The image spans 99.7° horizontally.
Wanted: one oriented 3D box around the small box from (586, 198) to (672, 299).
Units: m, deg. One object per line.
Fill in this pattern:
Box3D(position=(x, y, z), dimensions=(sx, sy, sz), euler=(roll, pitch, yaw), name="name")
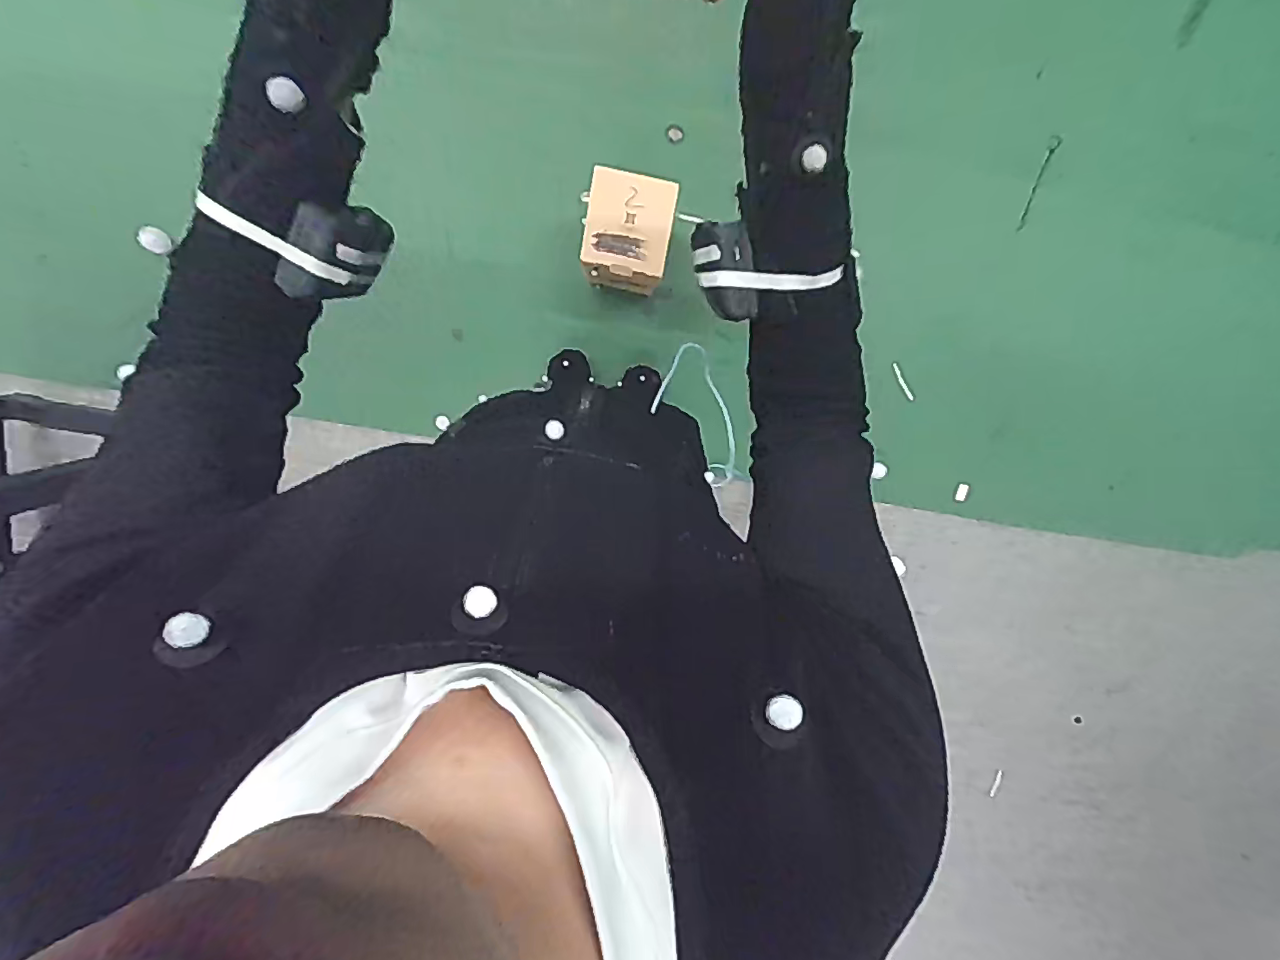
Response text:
Box3D(position=(-0.028, -0.538, 1.283), dimensions=(0.168, 0.176, 0.179), euler=(11, 102, -5), name="small box")
